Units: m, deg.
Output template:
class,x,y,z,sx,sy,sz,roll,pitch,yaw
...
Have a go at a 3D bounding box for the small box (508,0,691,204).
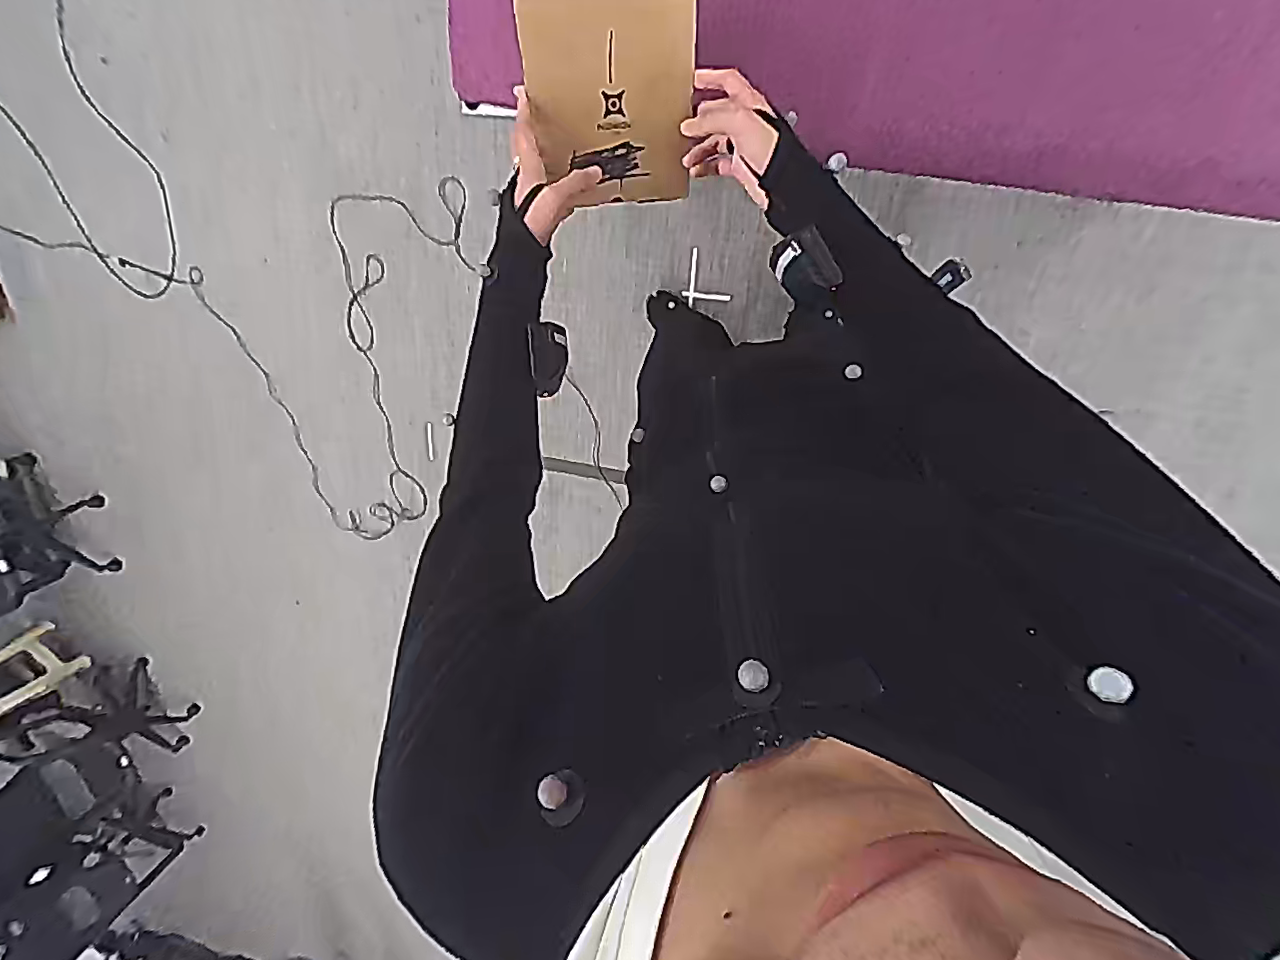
class,x,y,z,sx,sy,sz,roll,pitch,yaw
small box,-0.045,-0.431,0.593,0.168,0.176,0.179,-7,139,-5
